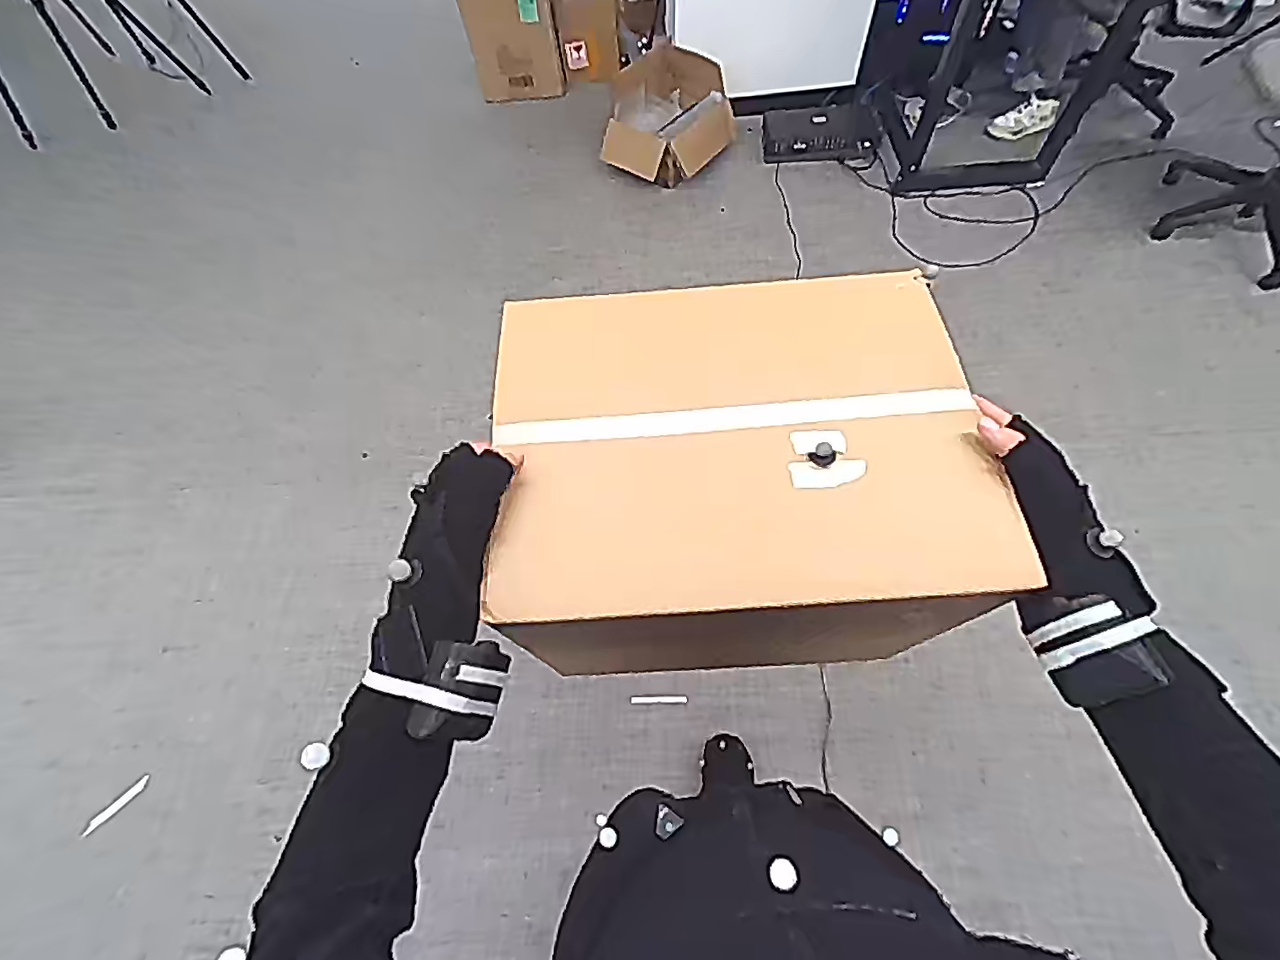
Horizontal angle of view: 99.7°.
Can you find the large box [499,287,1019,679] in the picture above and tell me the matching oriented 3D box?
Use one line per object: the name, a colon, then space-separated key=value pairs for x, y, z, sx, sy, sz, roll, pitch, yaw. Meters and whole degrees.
large box: x=0.085 y=0.026 z=0.607 sx=0.408 sy=0.320 sz=0.320 roll=-4 pitch=63 yaw=1
